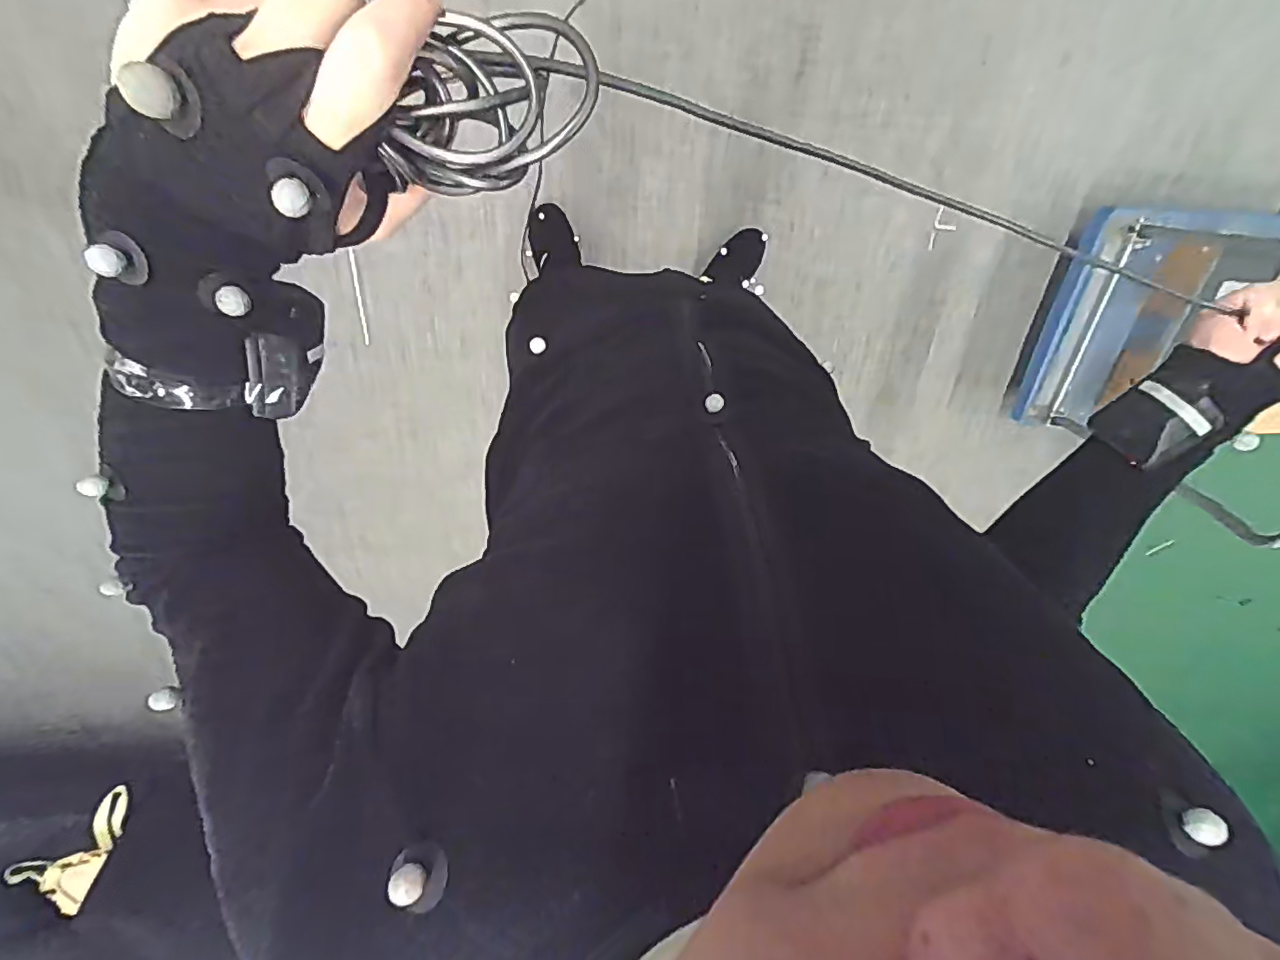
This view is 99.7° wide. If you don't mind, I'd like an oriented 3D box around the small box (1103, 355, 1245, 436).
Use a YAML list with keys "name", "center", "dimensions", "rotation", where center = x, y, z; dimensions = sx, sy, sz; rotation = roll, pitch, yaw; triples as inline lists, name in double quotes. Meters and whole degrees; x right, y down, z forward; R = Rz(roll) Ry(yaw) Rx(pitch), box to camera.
- name: "small box"
  center: [1.422, -0.230, 1.454]
  dimensions: [0.179, 0.176, 0.168]
  rotation: [2, 119, -5]

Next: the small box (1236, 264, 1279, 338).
- name: "small box"
  center: [1.688, -0.445, 1.355]
  dimensions: [0.179, 0.176, 0.168]
  rotation: [-2, 120, -4]

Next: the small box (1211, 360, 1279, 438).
- name: "small box"
  center: [1.691, -0.225, 1.479]
  dimensions: [0.179, 0.176, 0.168]
  rotation: [-2, 119, -3]
